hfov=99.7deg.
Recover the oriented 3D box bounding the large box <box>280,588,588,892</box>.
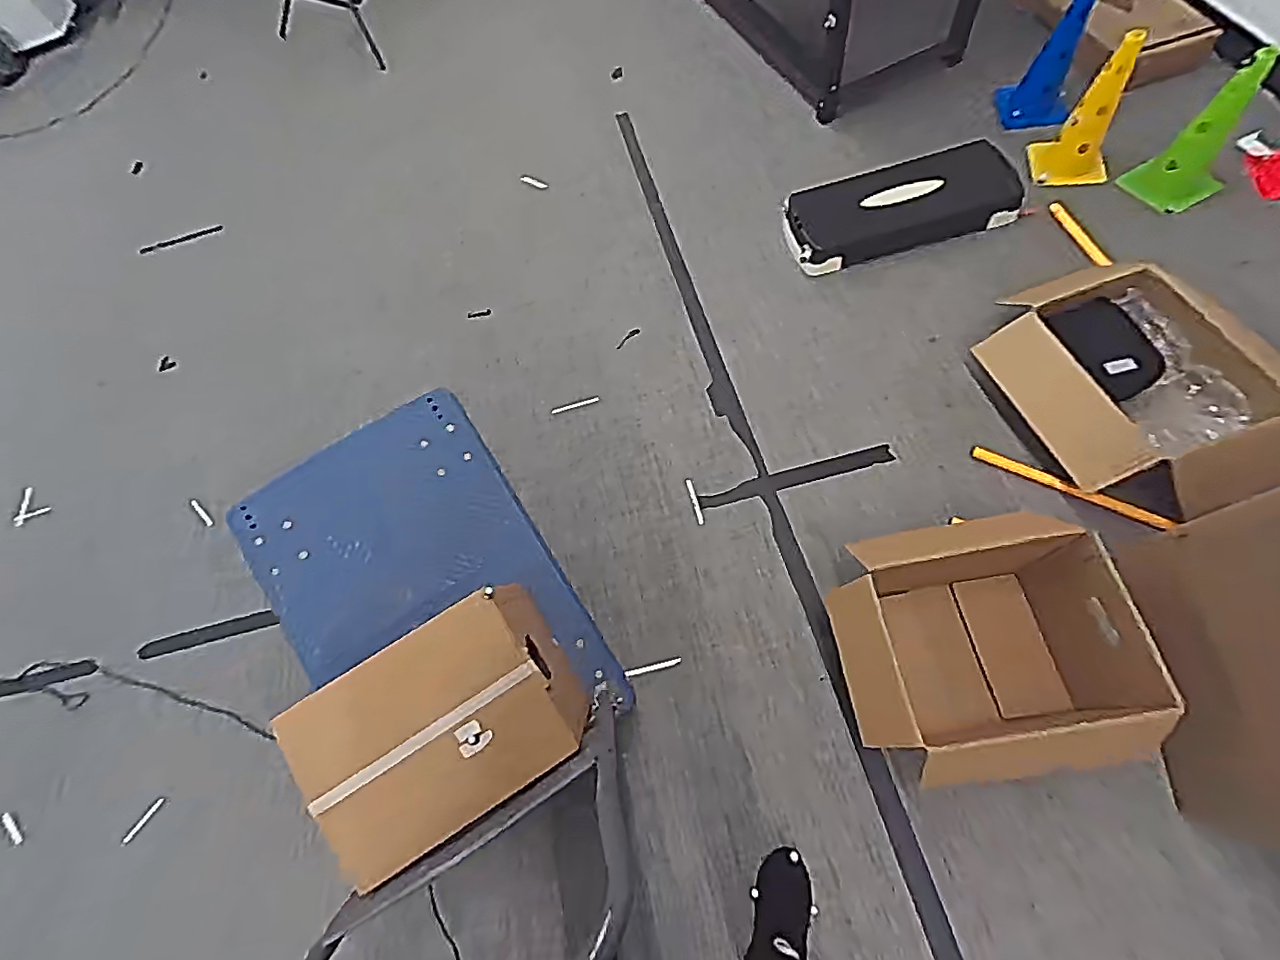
[{"bbox_3d":[-0.352,0.444,1.034,0.408,0.320,0.320,-32,84,-7],"label":"large box"}]
